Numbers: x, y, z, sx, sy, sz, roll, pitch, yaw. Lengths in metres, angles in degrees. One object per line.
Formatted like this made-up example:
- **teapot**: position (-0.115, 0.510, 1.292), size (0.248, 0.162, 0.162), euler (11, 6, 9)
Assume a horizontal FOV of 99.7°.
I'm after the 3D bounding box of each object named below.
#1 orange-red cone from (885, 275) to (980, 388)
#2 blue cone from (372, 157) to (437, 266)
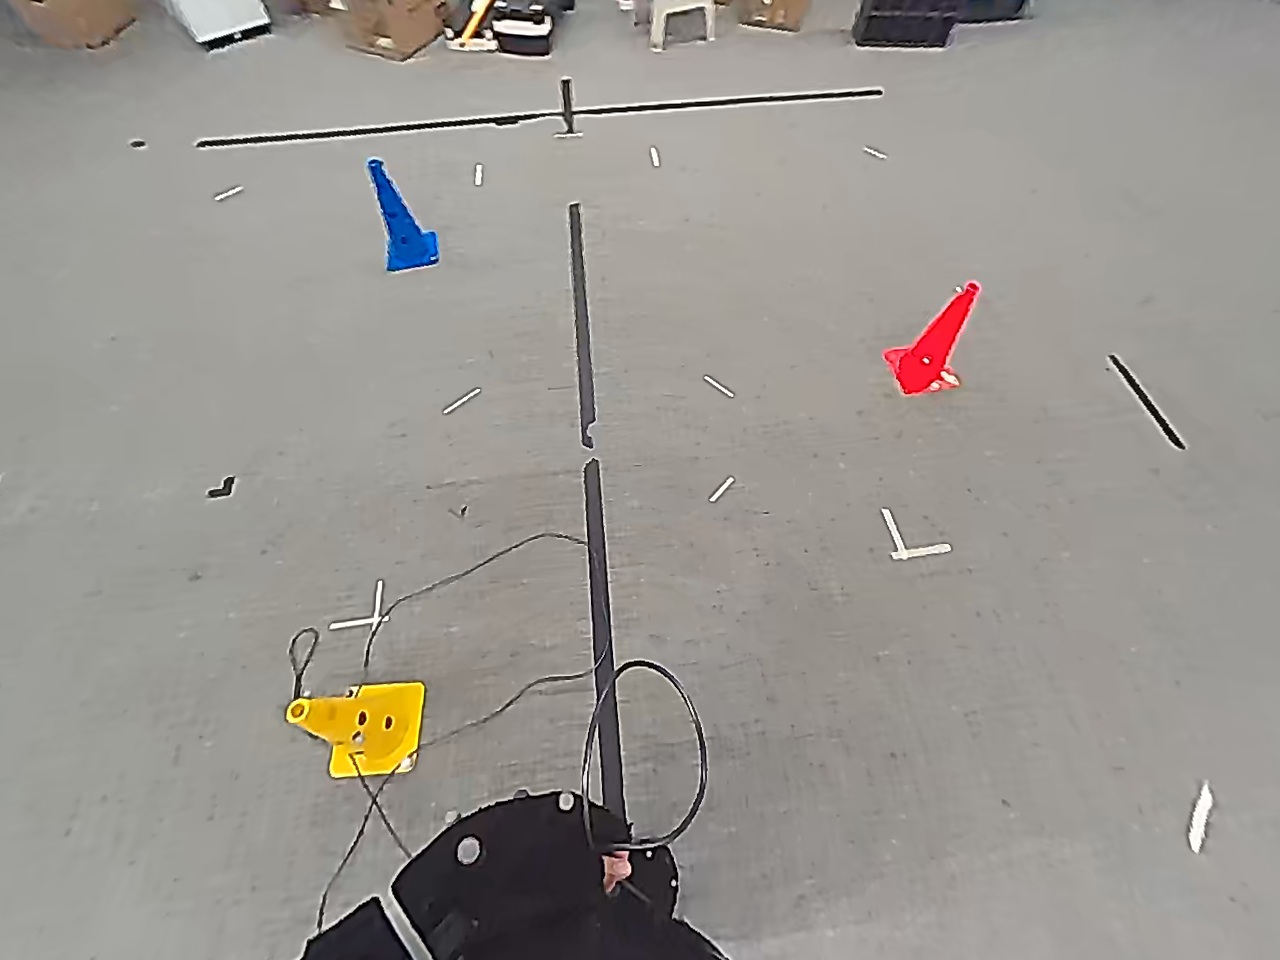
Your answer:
- **orange-red cone**: position (0.949, -0.483, 1.687), size (0.198, 0.360, 0.199), euler (-9, 59, -5)
- **blue cone**: position (-0.909, -1.005, 2.014), size (0.192, 0.380, 0.193), euler (-10, 61, -5)
